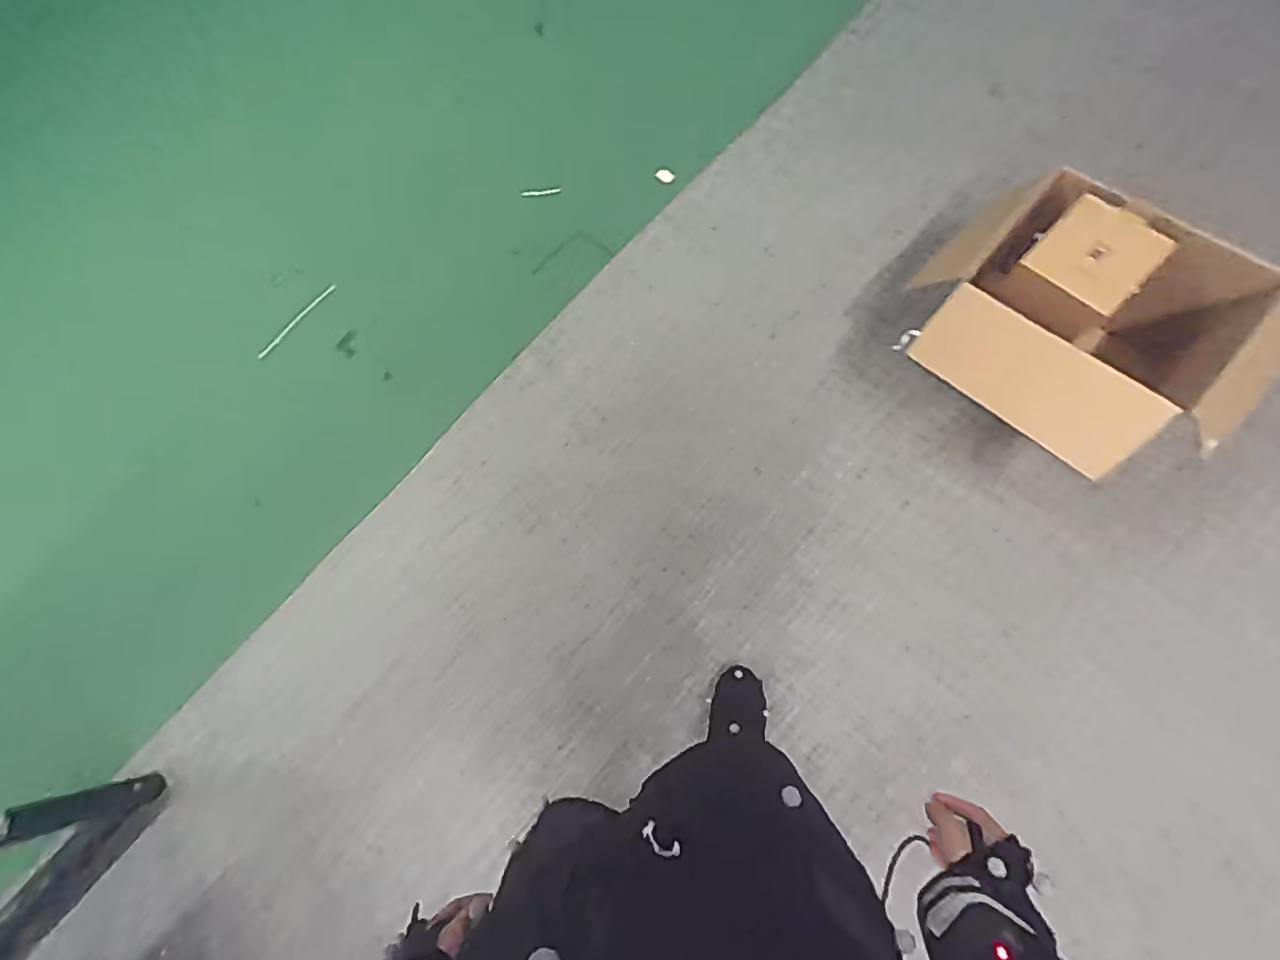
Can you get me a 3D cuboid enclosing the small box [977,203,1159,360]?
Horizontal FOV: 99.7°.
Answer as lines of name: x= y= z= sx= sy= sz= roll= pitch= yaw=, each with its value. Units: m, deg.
small box: x=0.778 y=-0.361 z=1.009 sx=0.179 sy=0.176 sz=0.168 roll=-45 pitch=75 yaw=-2
